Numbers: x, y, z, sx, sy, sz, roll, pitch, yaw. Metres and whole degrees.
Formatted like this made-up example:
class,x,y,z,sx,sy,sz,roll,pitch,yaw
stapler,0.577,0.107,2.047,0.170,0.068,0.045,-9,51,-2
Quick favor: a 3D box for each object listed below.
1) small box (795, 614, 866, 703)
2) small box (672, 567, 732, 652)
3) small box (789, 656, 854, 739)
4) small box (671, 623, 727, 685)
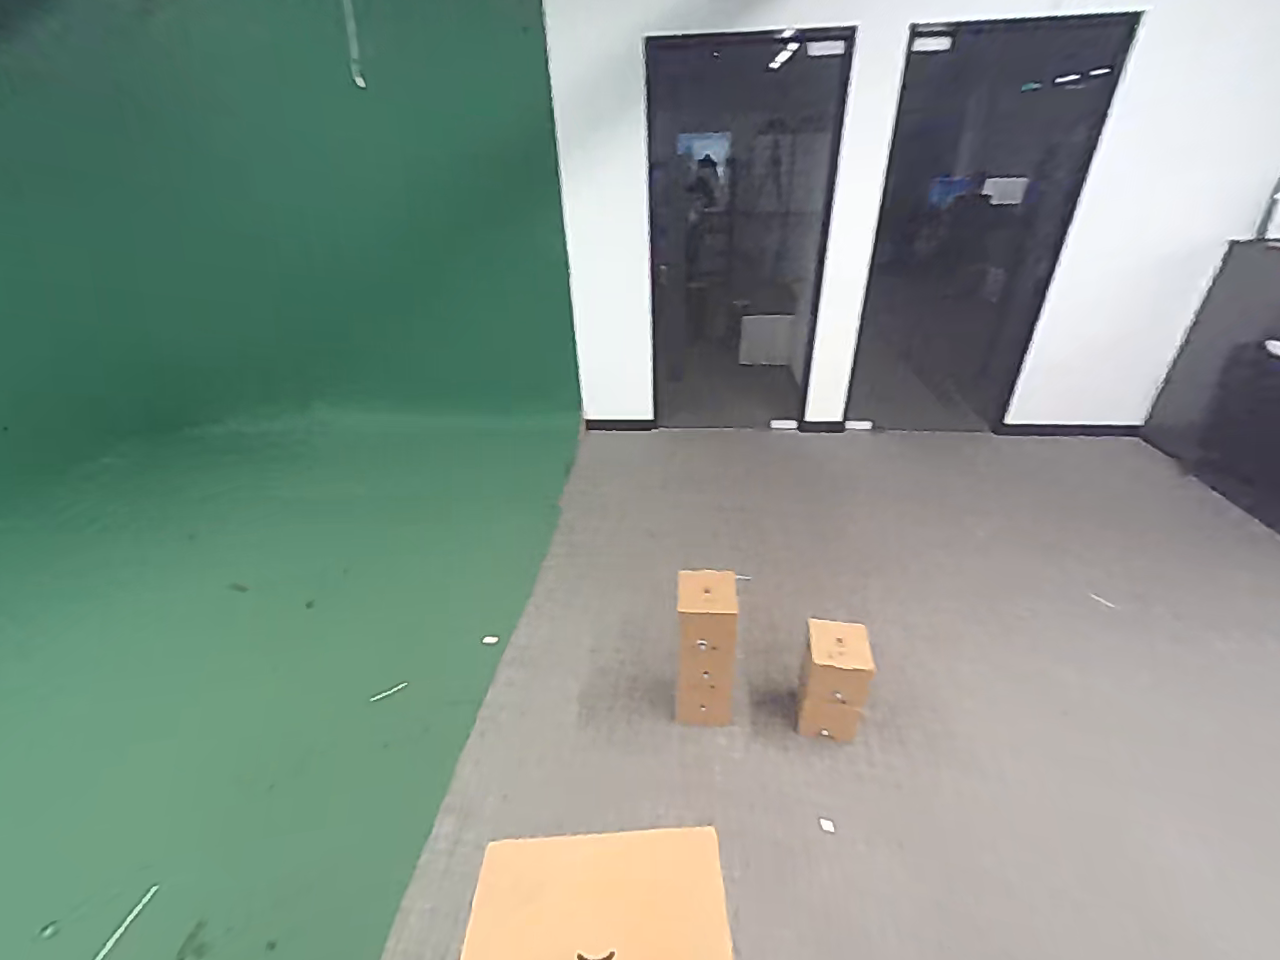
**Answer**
class,x,y,z,sx,sy,sz,roll,pitch,yaw
small box,0.562,0.531,1.613,0.168,0.176,0.179,4,32,10
small box,0.178,0.374,1.576,0.168,0.176,0.179,-1,32,5
small box,0.562,0.673,1.697,0.168,0.176,0.179,5,33,11
small box,0.179,0.511,1.664,0.168,0.176,0.179,0,32,4
